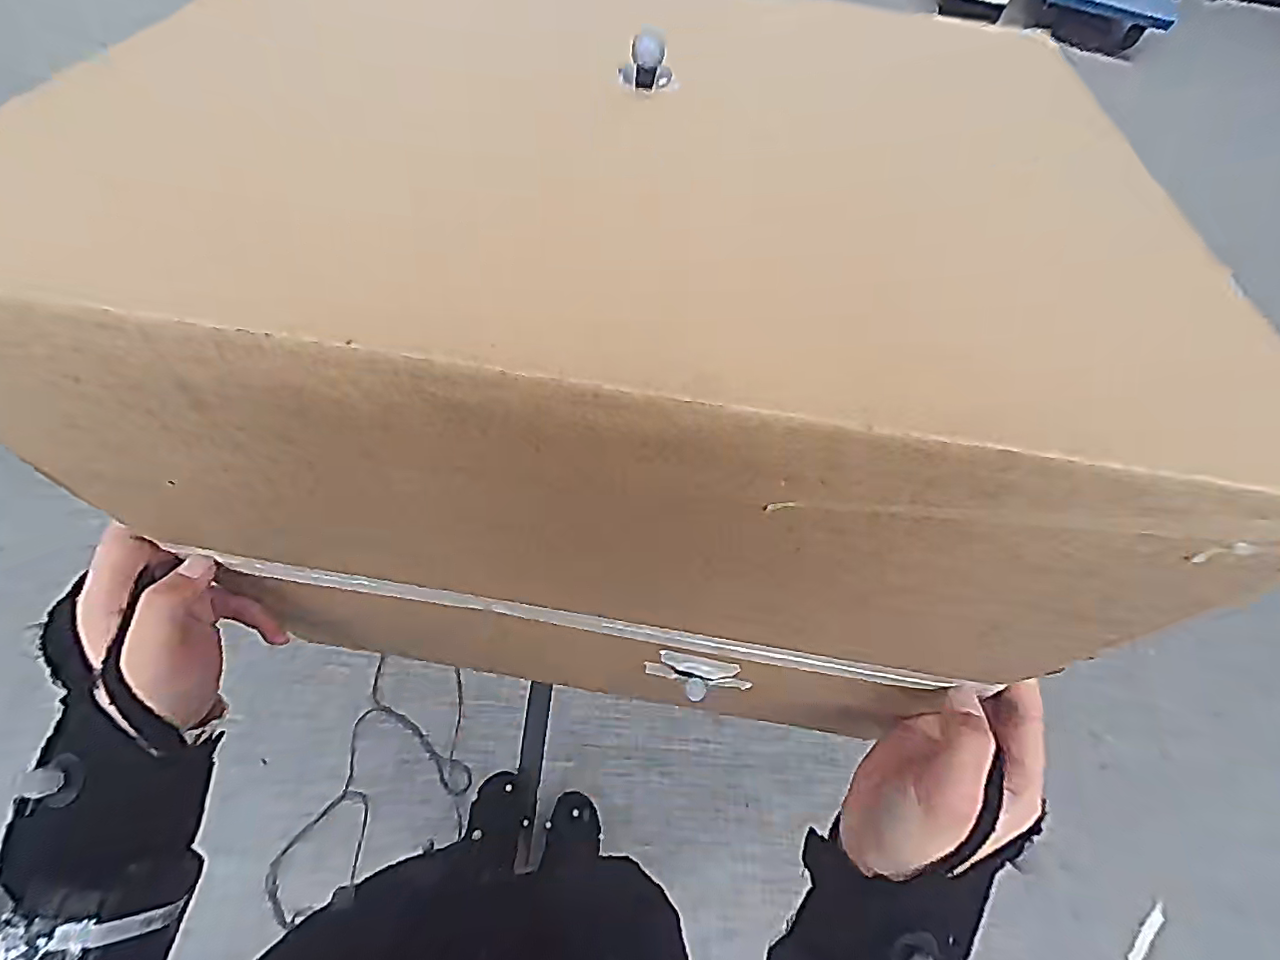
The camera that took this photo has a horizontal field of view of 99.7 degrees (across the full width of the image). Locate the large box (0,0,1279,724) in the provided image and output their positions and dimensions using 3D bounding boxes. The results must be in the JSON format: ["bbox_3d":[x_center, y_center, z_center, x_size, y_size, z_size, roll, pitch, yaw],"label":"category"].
[{"bbox_3d":[-0.011,-0.063,0.345,0.408,0.320,0.320,8,58,2],"label":"large box"}]
